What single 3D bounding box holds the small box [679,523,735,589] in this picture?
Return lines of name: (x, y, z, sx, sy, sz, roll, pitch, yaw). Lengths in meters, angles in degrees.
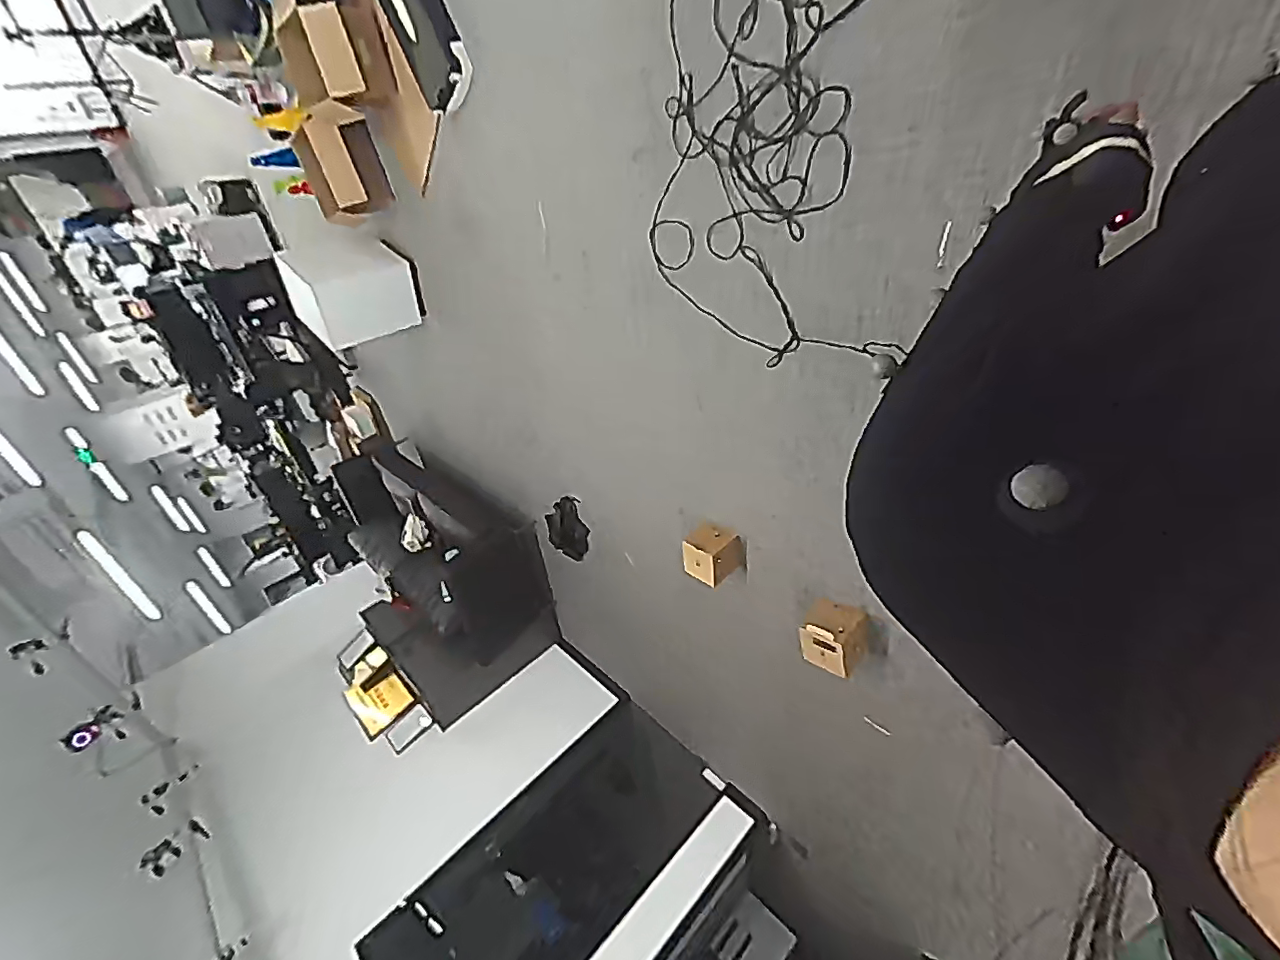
small box: (0.282, 0.310, 2.241, 0.168, 0.176, 0.179, 26, 135, 40)
